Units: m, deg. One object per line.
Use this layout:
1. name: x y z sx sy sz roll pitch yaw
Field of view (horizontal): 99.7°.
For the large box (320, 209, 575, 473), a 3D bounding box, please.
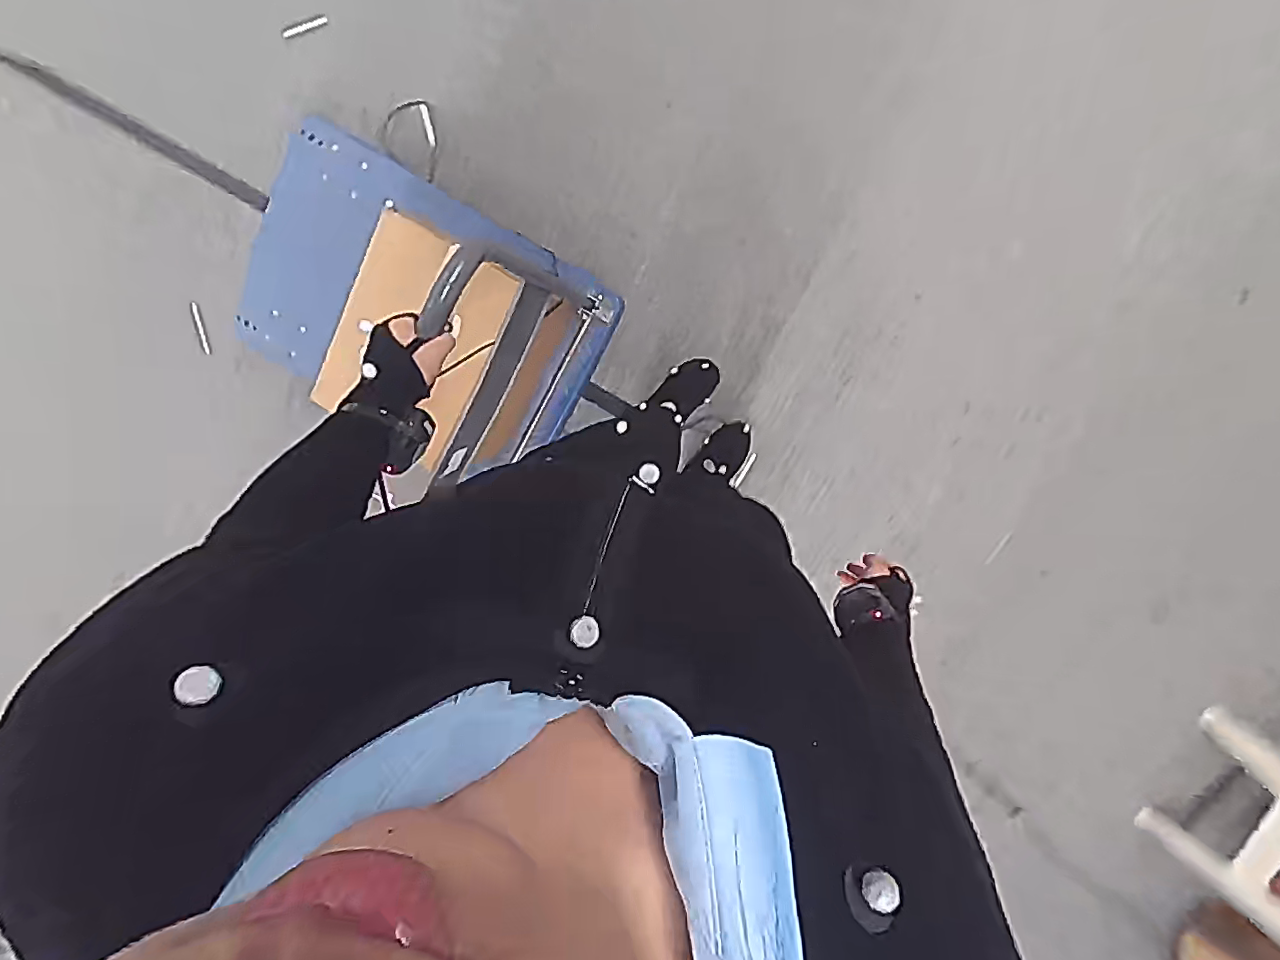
1. large box: -0.395 -0.280 1.173 0.320 0.320 0.408 31 103 1
